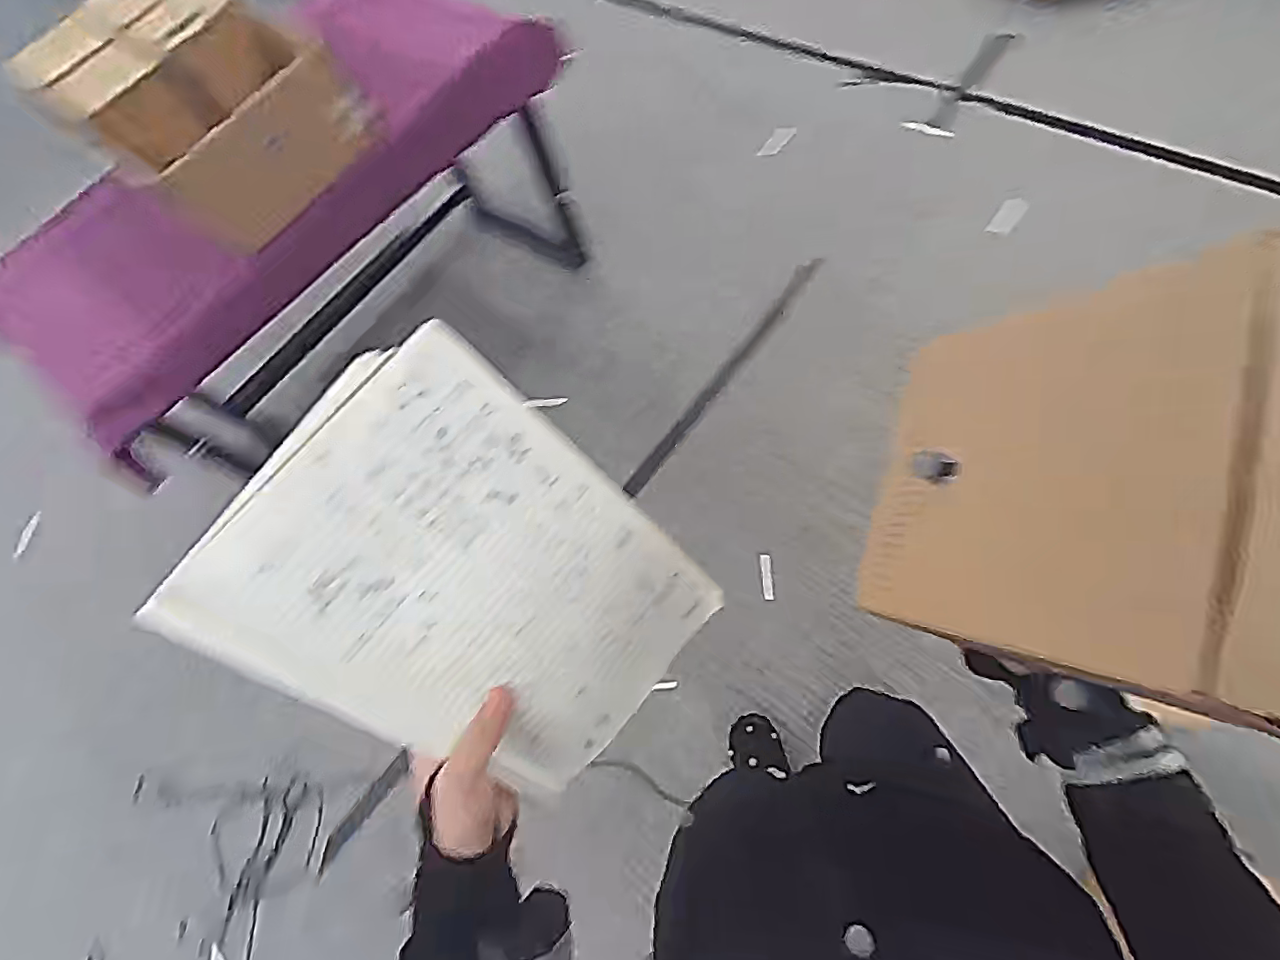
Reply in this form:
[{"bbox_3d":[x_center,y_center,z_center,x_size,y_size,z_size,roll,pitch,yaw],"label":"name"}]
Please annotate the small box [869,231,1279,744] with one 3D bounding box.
[{"bbox_3d":[0.252,0.019,0.282,0.168,0.176,0.179,20,82,-16],"label":"small box"}]
